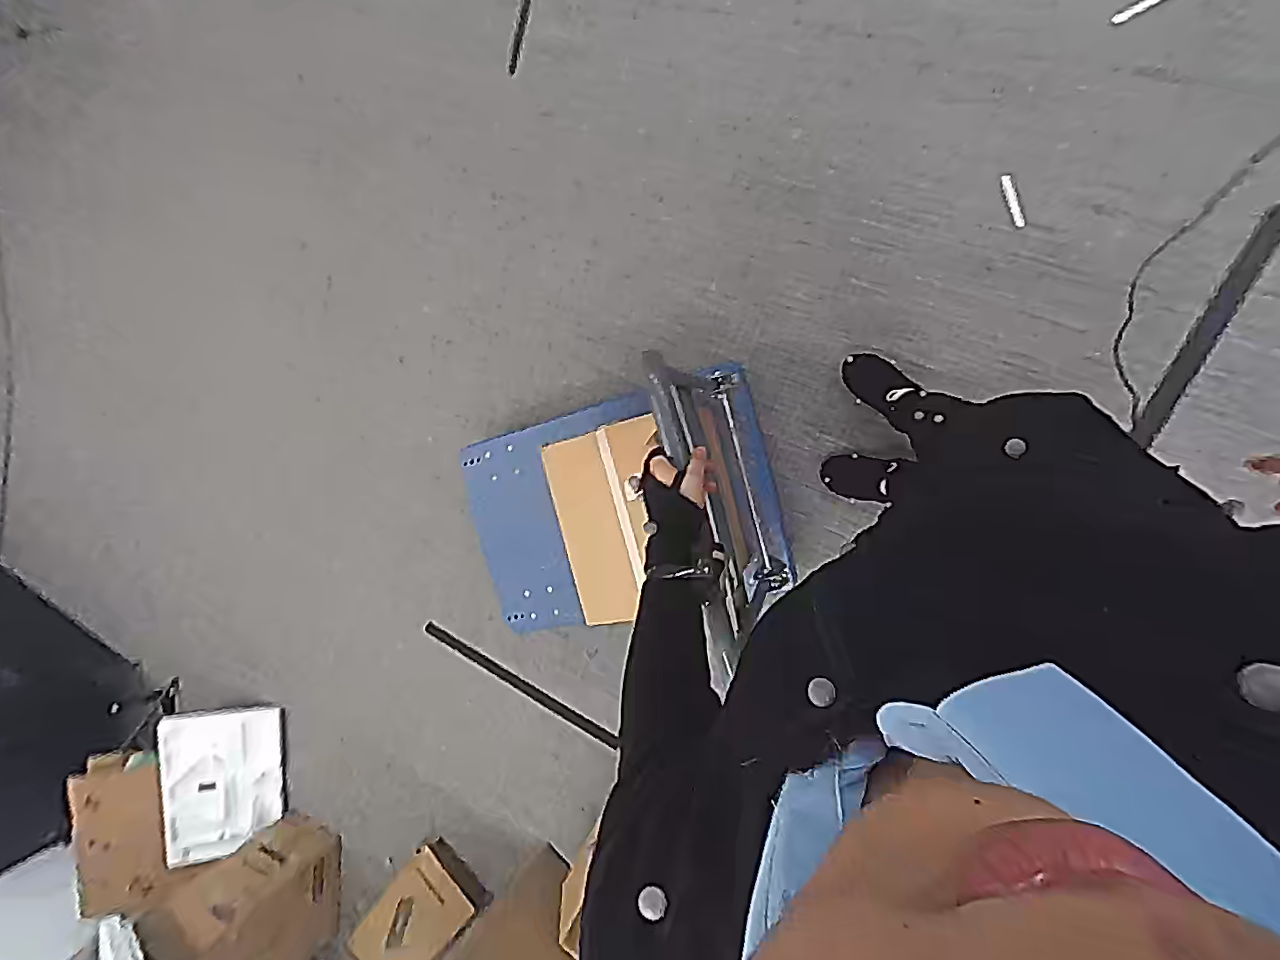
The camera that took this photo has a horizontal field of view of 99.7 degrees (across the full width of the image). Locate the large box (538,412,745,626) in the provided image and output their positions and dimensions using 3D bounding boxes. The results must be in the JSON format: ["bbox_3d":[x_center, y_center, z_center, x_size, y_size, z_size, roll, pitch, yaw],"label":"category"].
[{"bbox_3d":[0.021,0.077,1.252,0.320,0.320,0.408,-14,92,22],"label":"large box"}]
